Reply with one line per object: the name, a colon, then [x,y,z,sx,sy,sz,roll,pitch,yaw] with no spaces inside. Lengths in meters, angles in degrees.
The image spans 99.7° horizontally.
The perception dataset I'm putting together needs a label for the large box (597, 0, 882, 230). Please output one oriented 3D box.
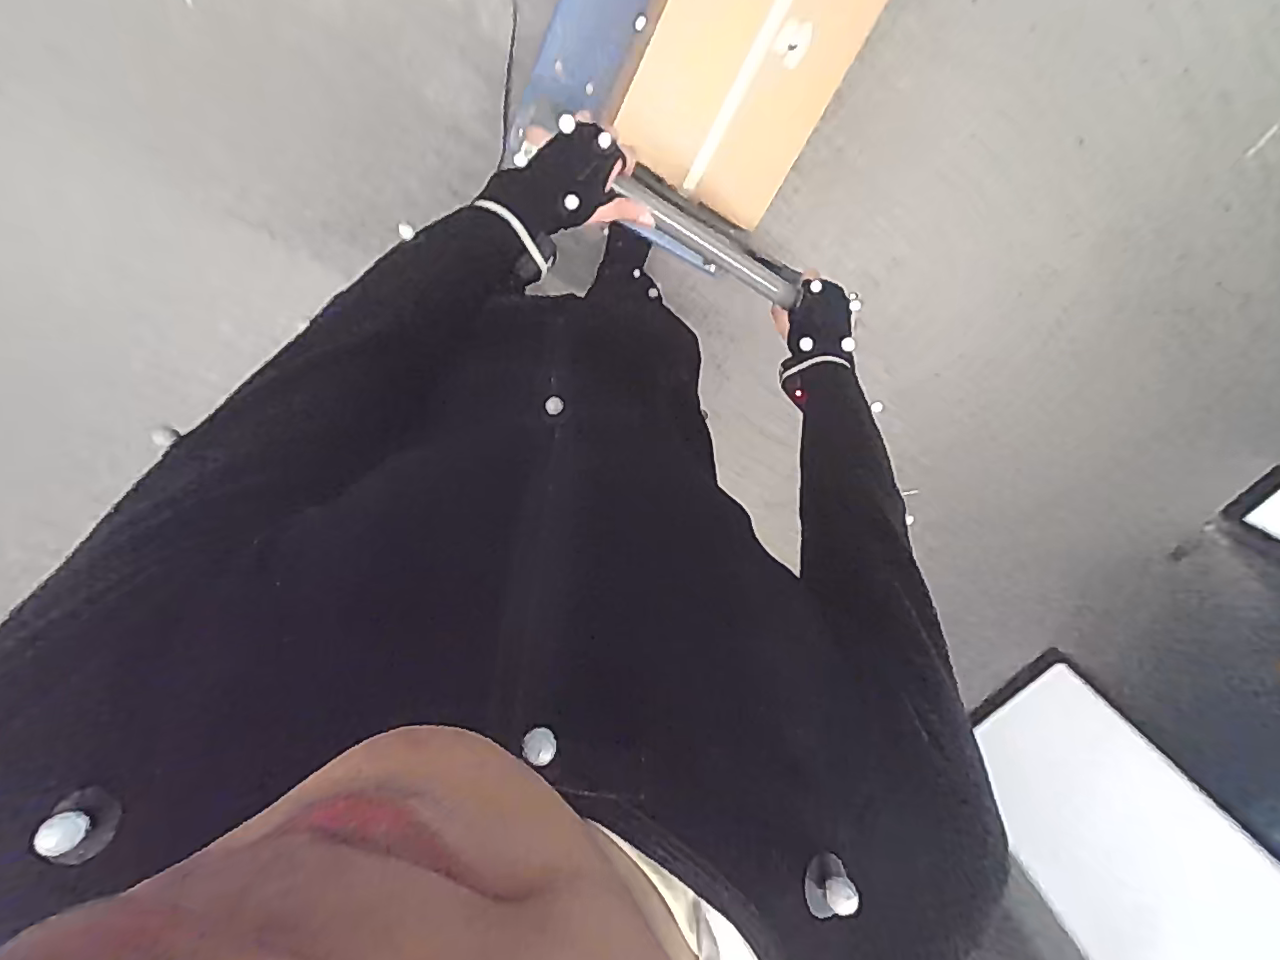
large box: [0.148,-0.746,1.013,0.320,0.320,0.408,21,114,-23]
